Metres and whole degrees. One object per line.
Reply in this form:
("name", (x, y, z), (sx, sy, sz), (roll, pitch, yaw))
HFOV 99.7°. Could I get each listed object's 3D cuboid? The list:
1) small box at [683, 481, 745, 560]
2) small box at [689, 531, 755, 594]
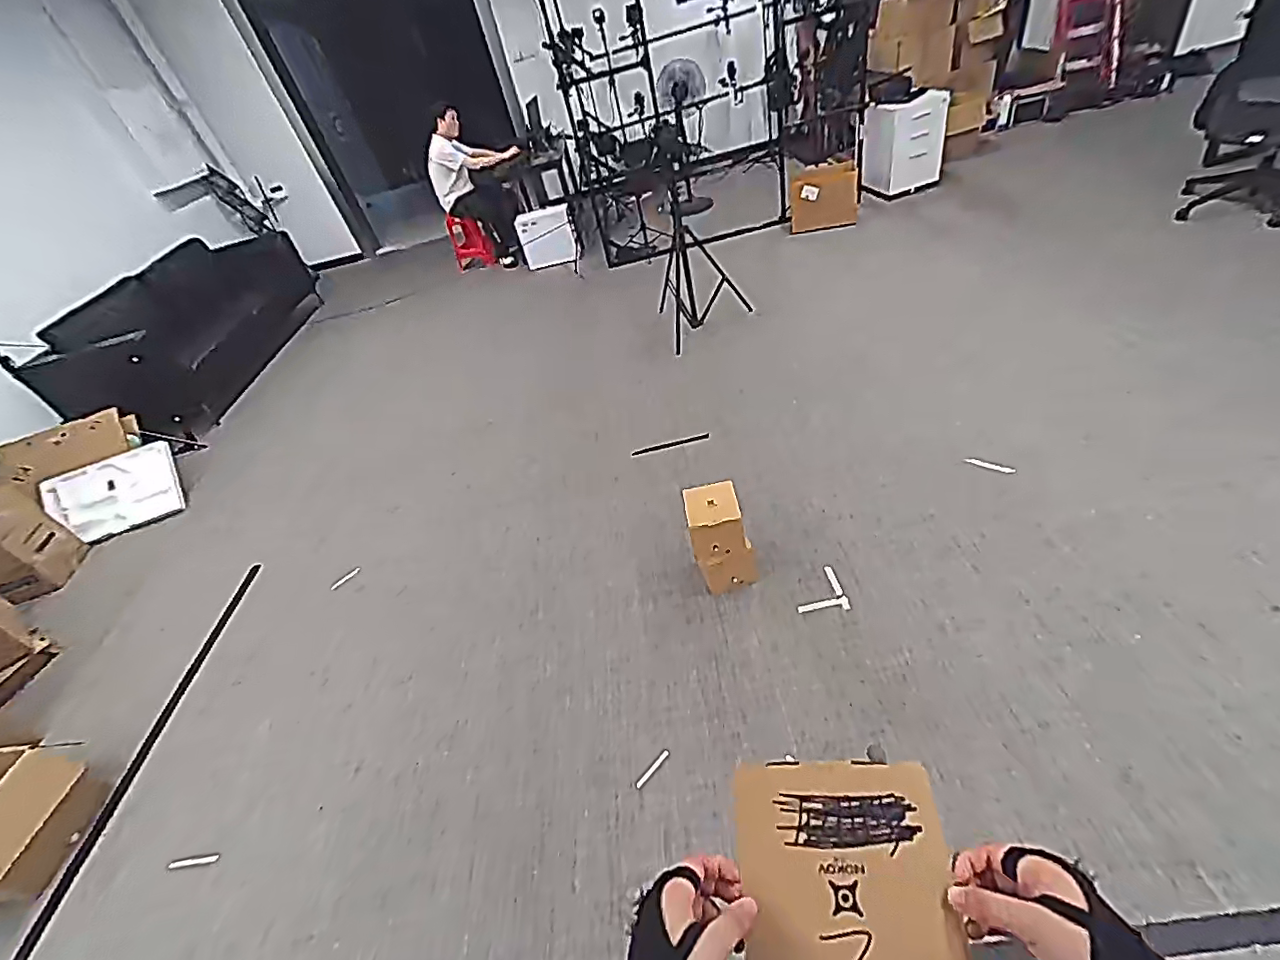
("small box", (0.239, 0.132, 1.748), (0.168, 0.176, 0.179), (-12, 41, 6))
("small box", (0.281, 0.254, 1.848), (0.168, 0.176, 0.179), (-20, 41, -3))
